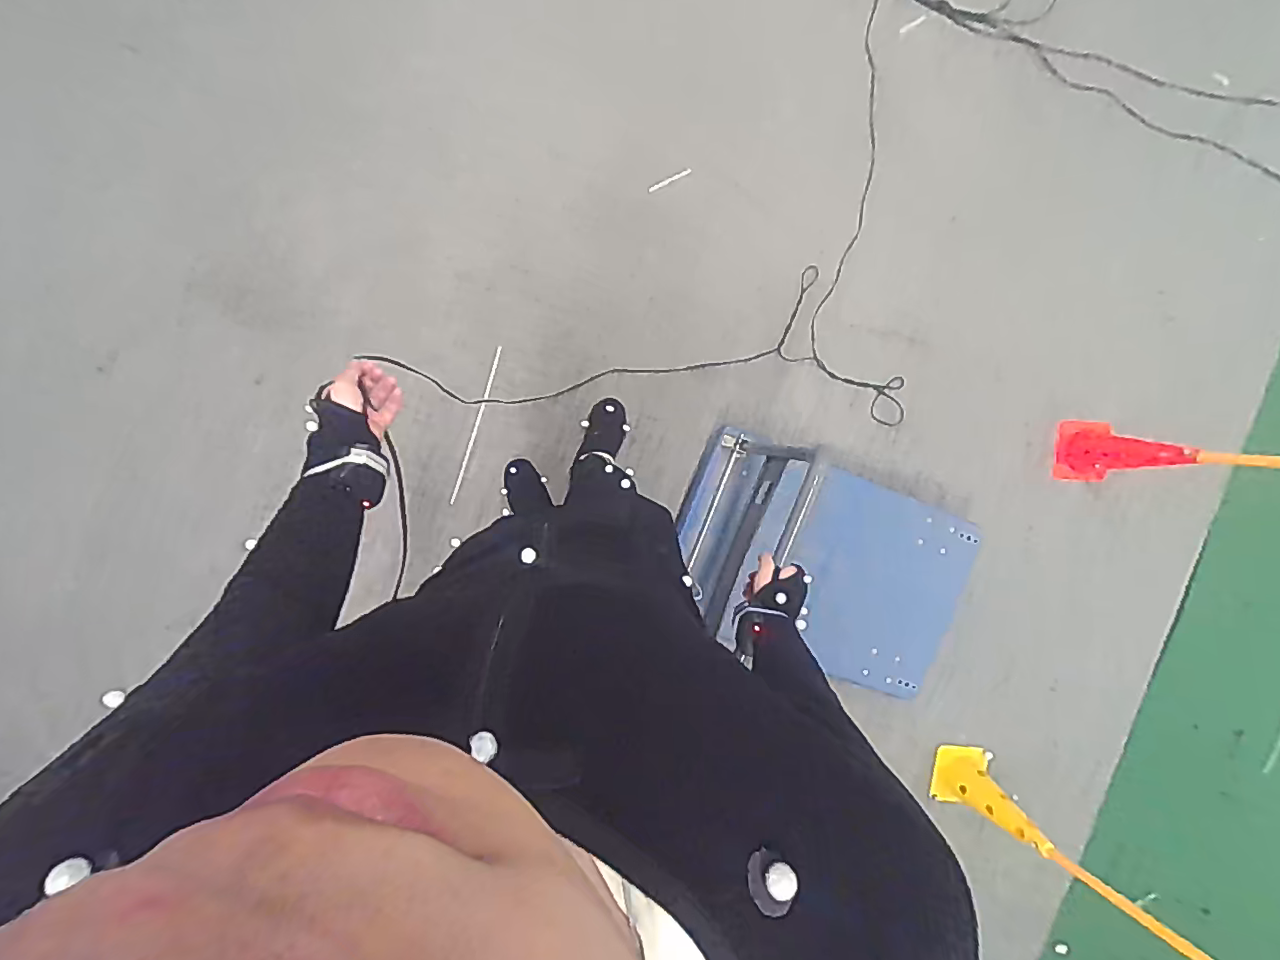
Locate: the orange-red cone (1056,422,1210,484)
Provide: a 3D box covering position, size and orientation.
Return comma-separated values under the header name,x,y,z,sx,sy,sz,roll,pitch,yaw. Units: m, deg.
name,x,y,z,sx,sy,sz,roll,pitch,yaw
orange-red cone,1.520,-0.078,1.653,0.198,0.360,0.199,4,94,-9
